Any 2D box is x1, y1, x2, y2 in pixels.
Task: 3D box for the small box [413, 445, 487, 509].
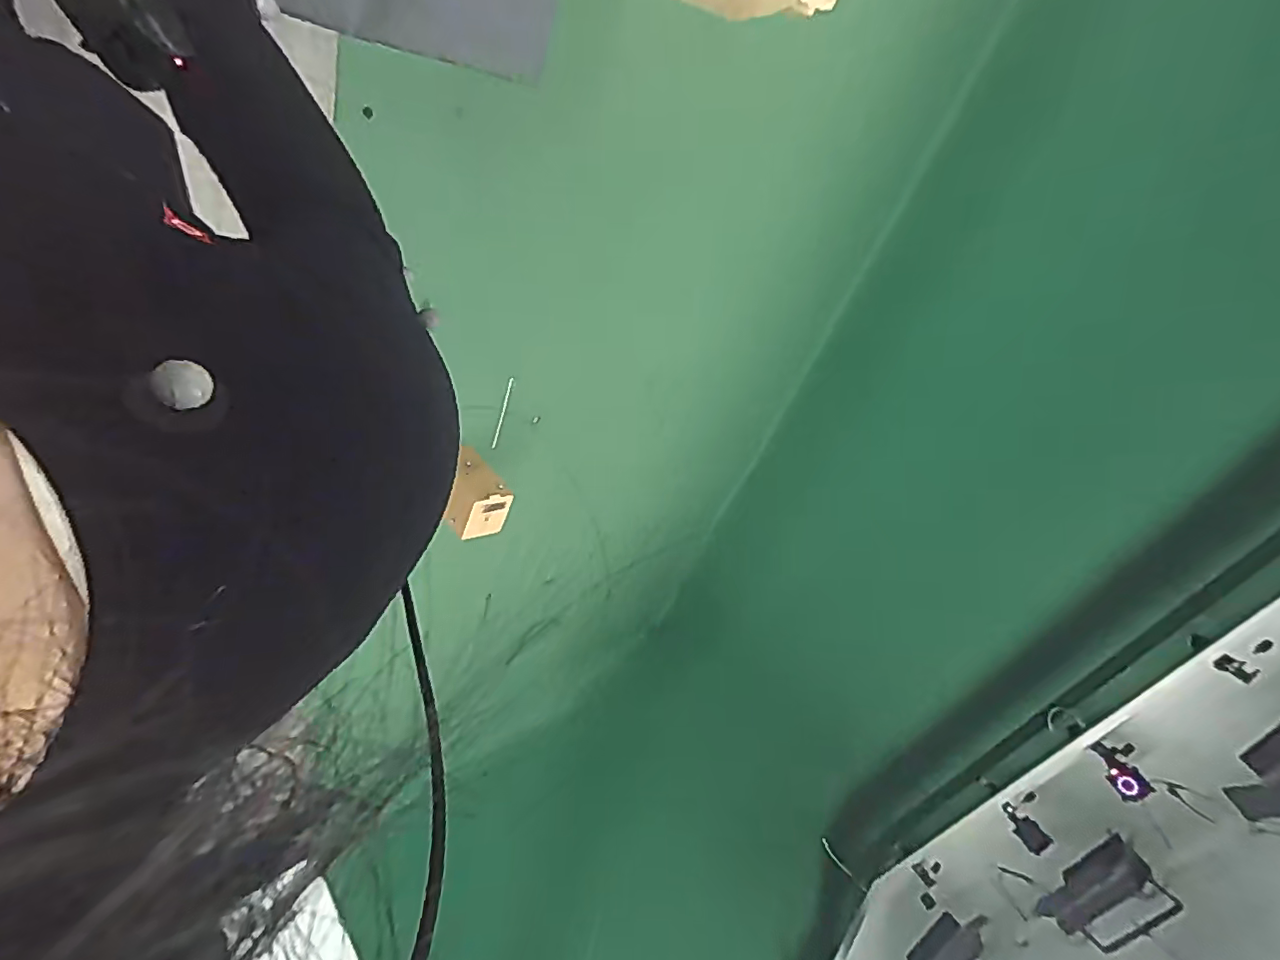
[{"bbox_3d":[-0.704,-0.016,1.990,0.179,0.176,0.168,-7,133,-52],"label":"small box"}]
